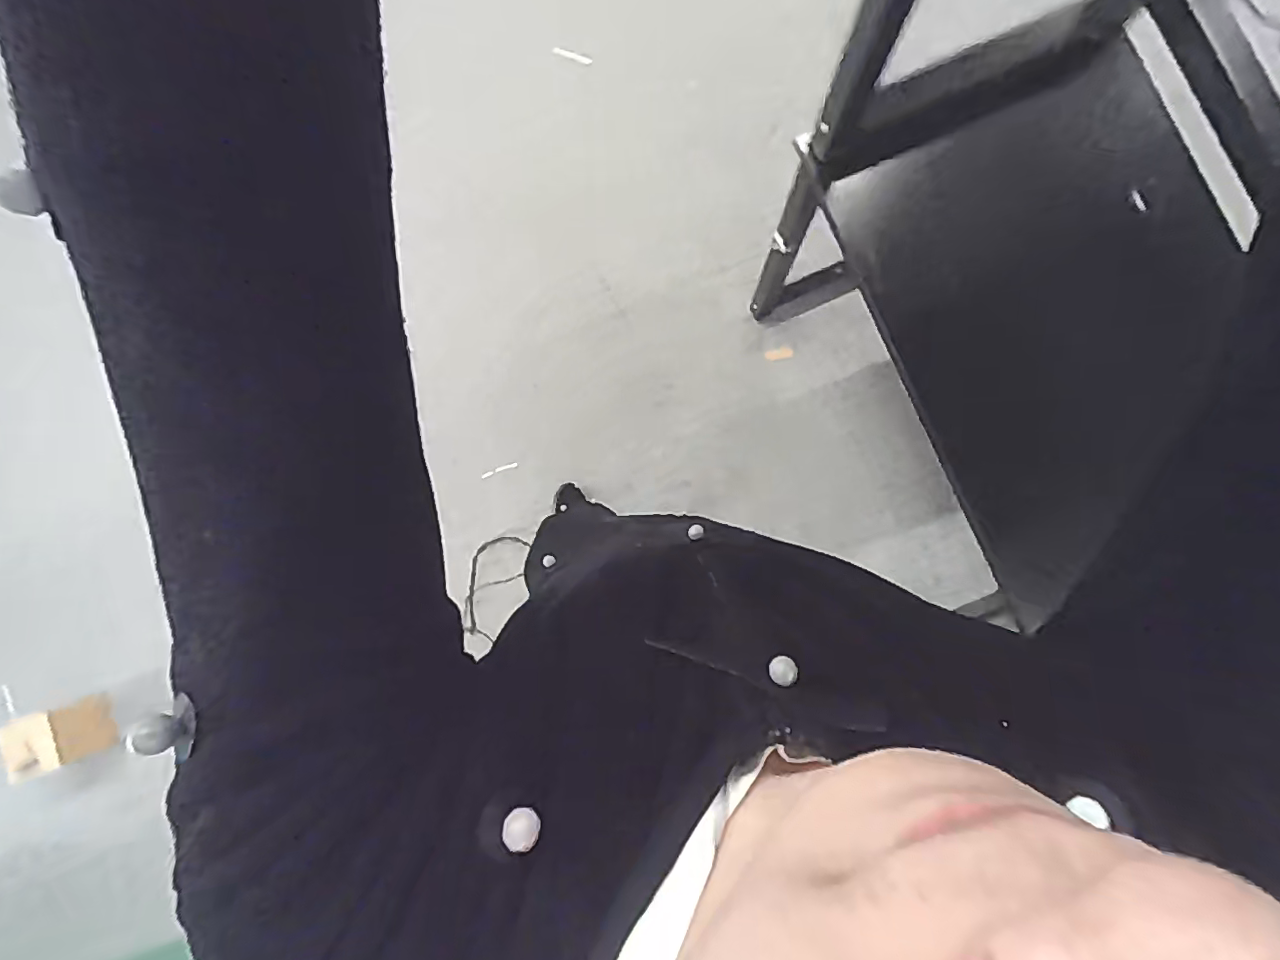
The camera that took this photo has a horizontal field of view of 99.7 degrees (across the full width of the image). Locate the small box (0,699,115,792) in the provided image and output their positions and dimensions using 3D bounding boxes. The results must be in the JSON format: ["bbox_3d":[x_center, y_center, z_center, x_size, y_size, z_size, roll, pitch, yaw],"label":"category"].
[{"bbox_3d":[-1.745,0.790,1.626,0.168,0.176,0.179,-22,83,1],"label":"small box"}]
